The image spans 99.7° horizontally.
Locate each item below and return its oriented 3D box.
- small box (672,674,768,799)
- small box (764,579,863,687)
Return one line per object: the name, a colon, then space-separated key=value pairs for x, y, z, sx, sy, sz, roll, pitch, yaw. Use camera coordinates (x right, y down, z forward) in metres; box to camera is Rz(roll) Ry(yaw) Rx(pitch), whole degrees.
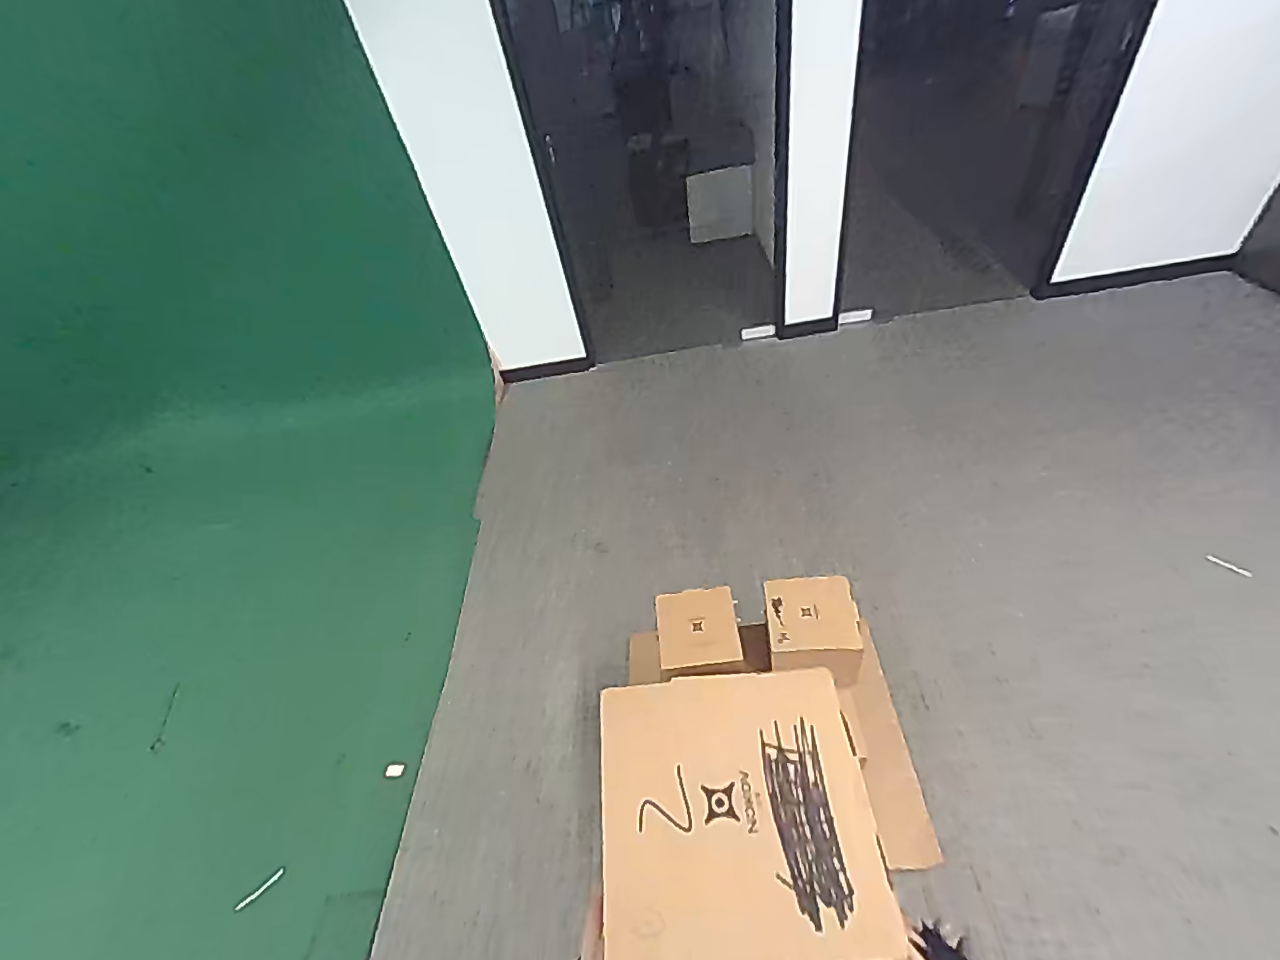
small box: x=0.149 y=0.493 z=1.036 sx=0.168 sy=0.176 sz=0.179 roll=-5 pitch=47 yaw=7
small box: x=0.358 y=0.327 z=1.148 sx=0.179 sy=0.176 sz=0.168 roll=-4 pitch=46 yaw=10
